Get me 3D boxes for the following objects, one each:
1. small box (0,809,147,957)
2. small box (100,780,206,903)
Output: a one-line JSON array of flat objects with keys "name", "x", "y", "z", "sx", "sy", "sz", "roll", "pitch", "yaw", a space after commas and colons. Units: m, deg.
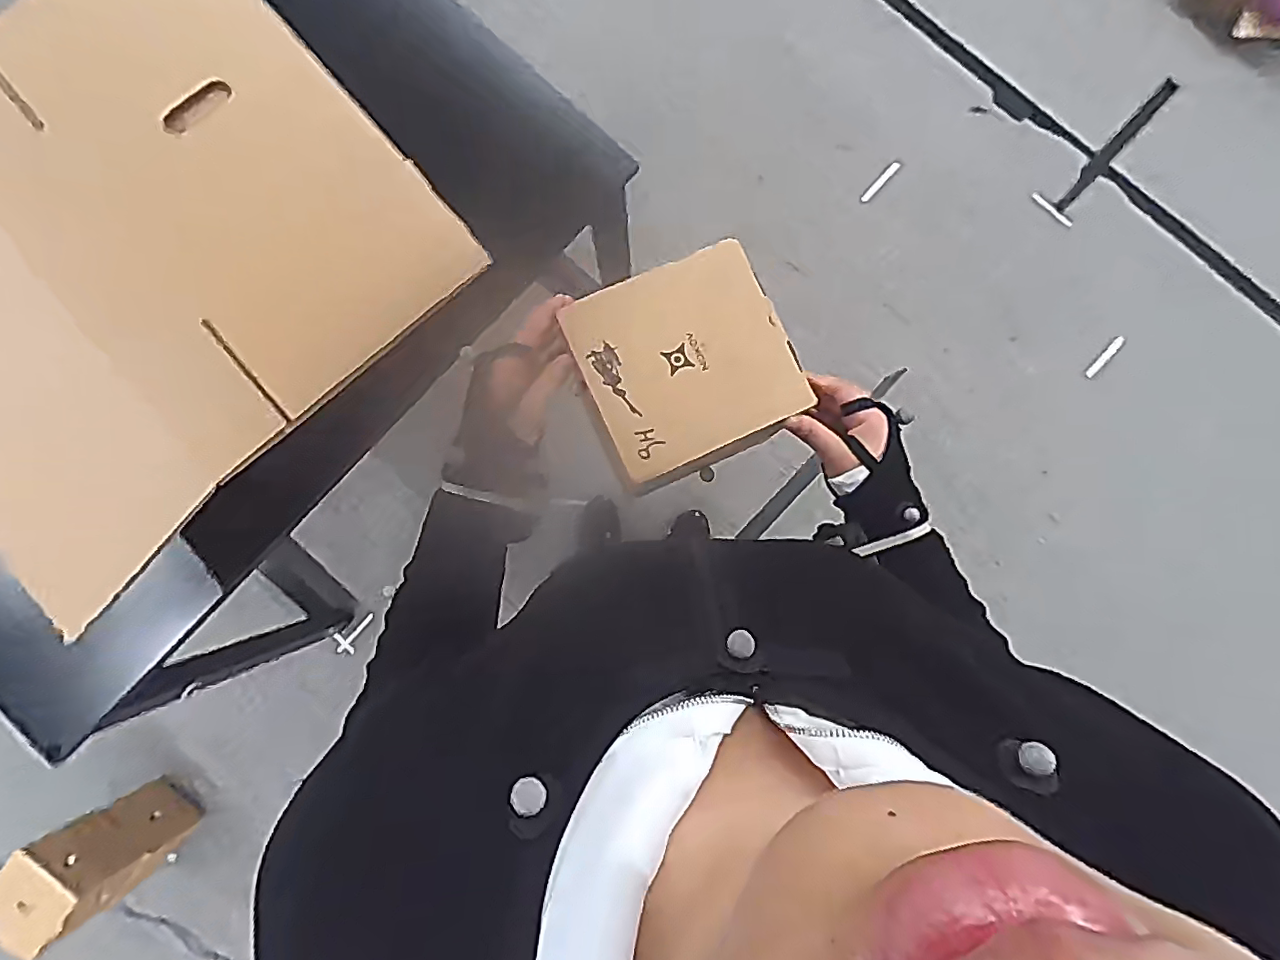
[{"name": "small box", "x": -1.297, "y": 0.897, "z": 1.226, "sx": 0.179, "sy": 0.176, "sz": 0.168, "roll": 37, "pitch": 87, "yaw": 3}, {"name": "small box", "x": -1.290, "y": 0.911, "z": 1.388, "sx": 0.179, "sy": 0.176, "sz": 0.168, "roll": 40, "pitch": 88, "yaw": 2}]
